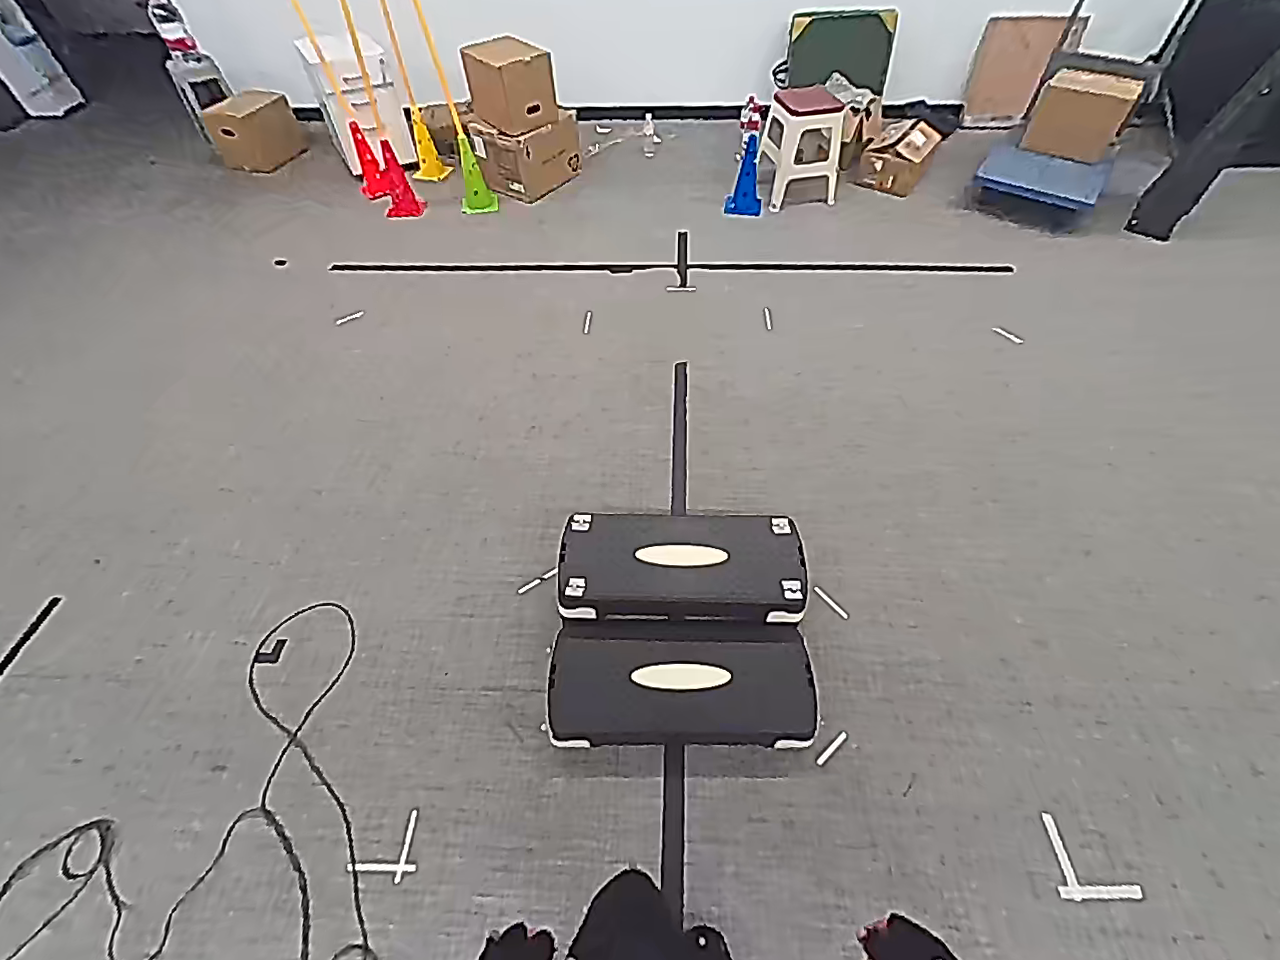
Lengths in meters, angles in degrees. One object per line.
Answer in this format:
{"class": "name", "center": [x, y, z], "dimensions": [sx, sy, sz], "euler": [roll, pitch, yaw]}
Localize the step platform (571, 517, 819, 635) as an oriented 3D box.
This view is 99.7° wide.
{"class": "step platform", "center": [0.147, 0.267, 1.535], "dimensions": [0.684, 0.204, 0.286], "euler": [0, 52, 1]}
